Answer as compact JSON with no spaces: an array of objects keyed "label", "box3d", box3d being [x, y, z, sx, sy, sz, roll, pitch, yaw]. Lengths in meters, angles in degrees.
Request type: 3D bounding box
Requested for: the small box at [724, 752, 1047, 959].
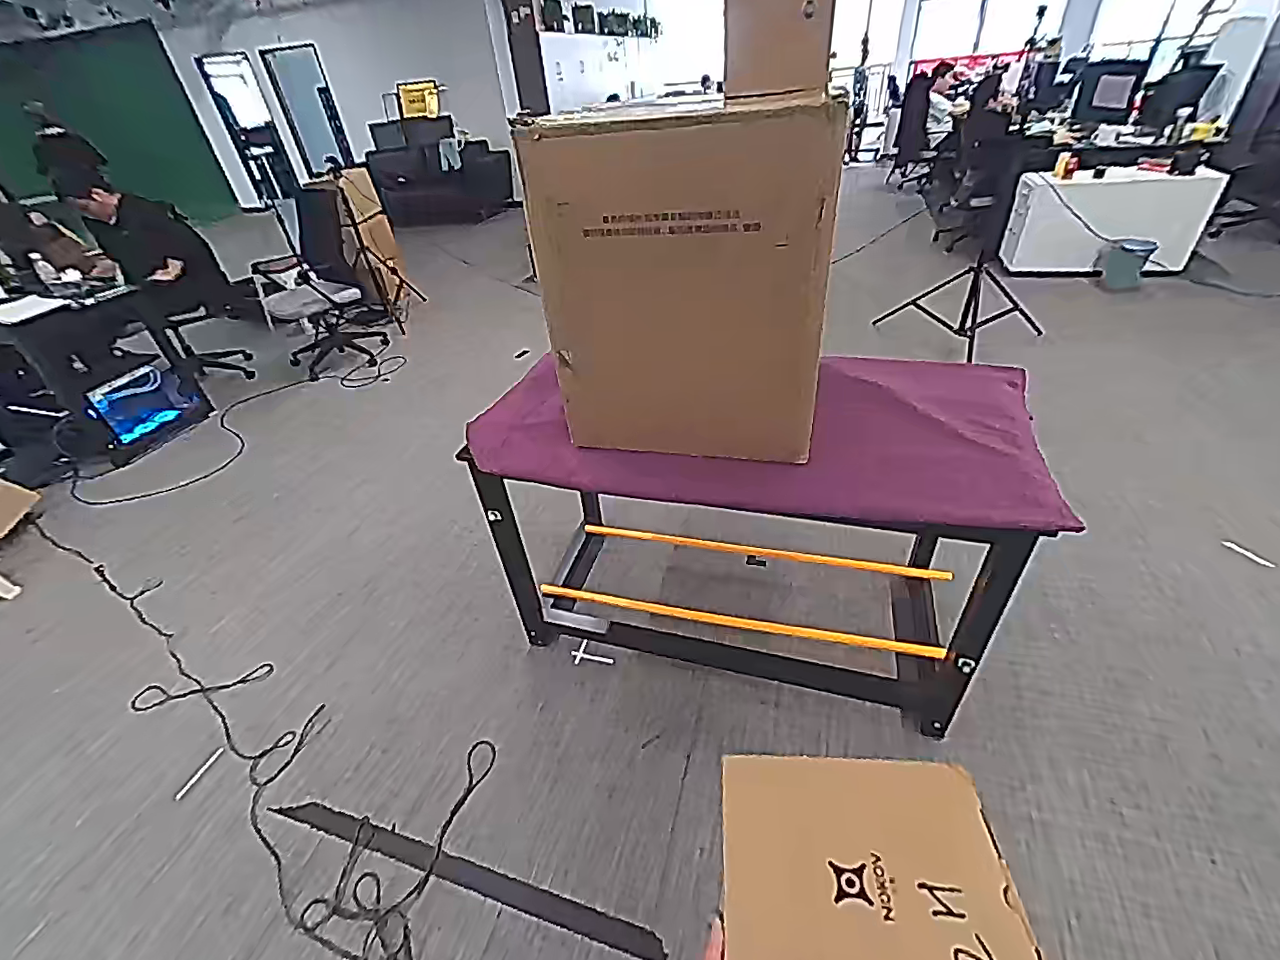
[{"label":"small box","box3d":[0.151,0.317,0.375,0.179,0.176,0.168,-2,32,9]}]
